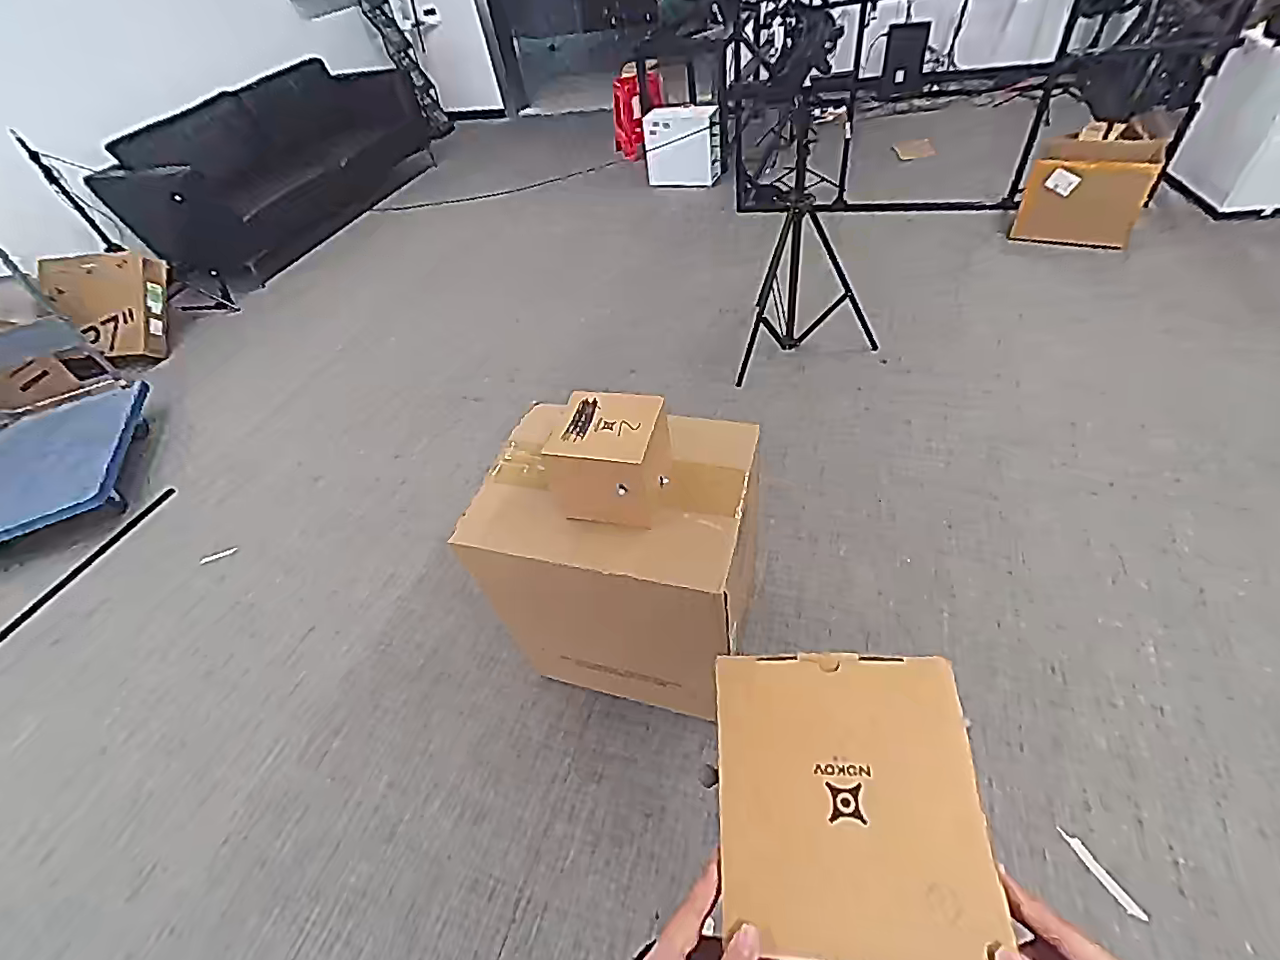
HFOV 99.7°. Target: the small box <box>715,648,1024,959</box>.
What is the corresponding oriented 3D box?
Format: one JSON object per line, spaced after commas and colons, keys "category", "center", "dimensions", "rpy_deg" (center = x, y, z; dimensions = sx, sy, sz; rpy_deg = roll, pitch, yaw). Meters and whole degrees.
{"category": "small box", "center": [0.147, 0.236, 0.413], "dimensions": [0.168, 0.176, 0.179], "rpy_deg": [-4, 59, 10]}
